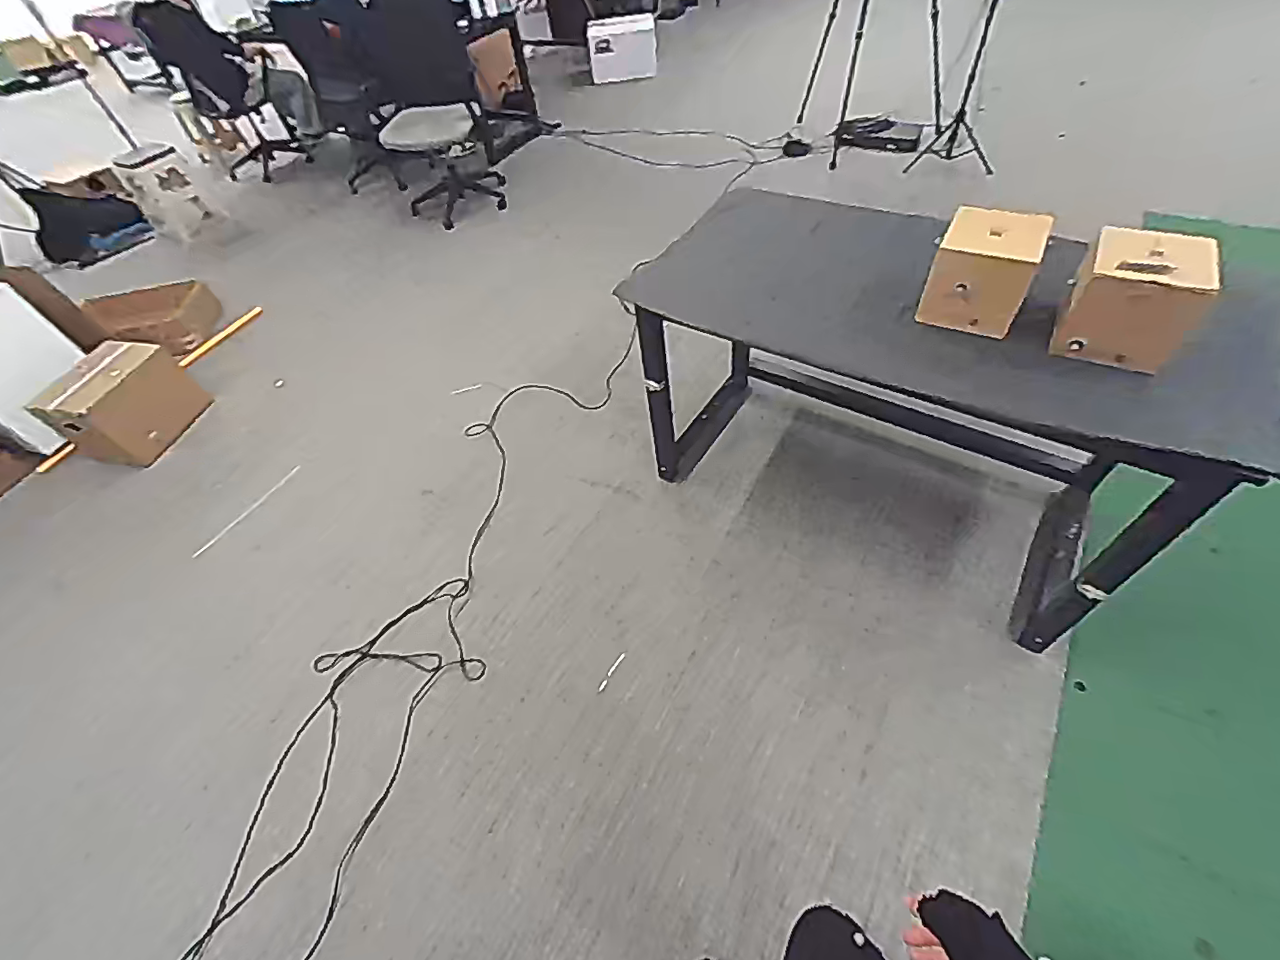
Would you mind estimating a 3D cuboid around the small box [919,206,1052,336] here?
[{"bbox_3d":[0.672,-0.412,1.069,0.168,0.176,0.179,22,56,24],"label":"small box"}]

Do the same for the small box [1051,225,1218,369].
[{"bbox_3d":[0.871,-0.325,0.966,0.168,0.176,0.179,21,56,24],"label":"small box"}]
